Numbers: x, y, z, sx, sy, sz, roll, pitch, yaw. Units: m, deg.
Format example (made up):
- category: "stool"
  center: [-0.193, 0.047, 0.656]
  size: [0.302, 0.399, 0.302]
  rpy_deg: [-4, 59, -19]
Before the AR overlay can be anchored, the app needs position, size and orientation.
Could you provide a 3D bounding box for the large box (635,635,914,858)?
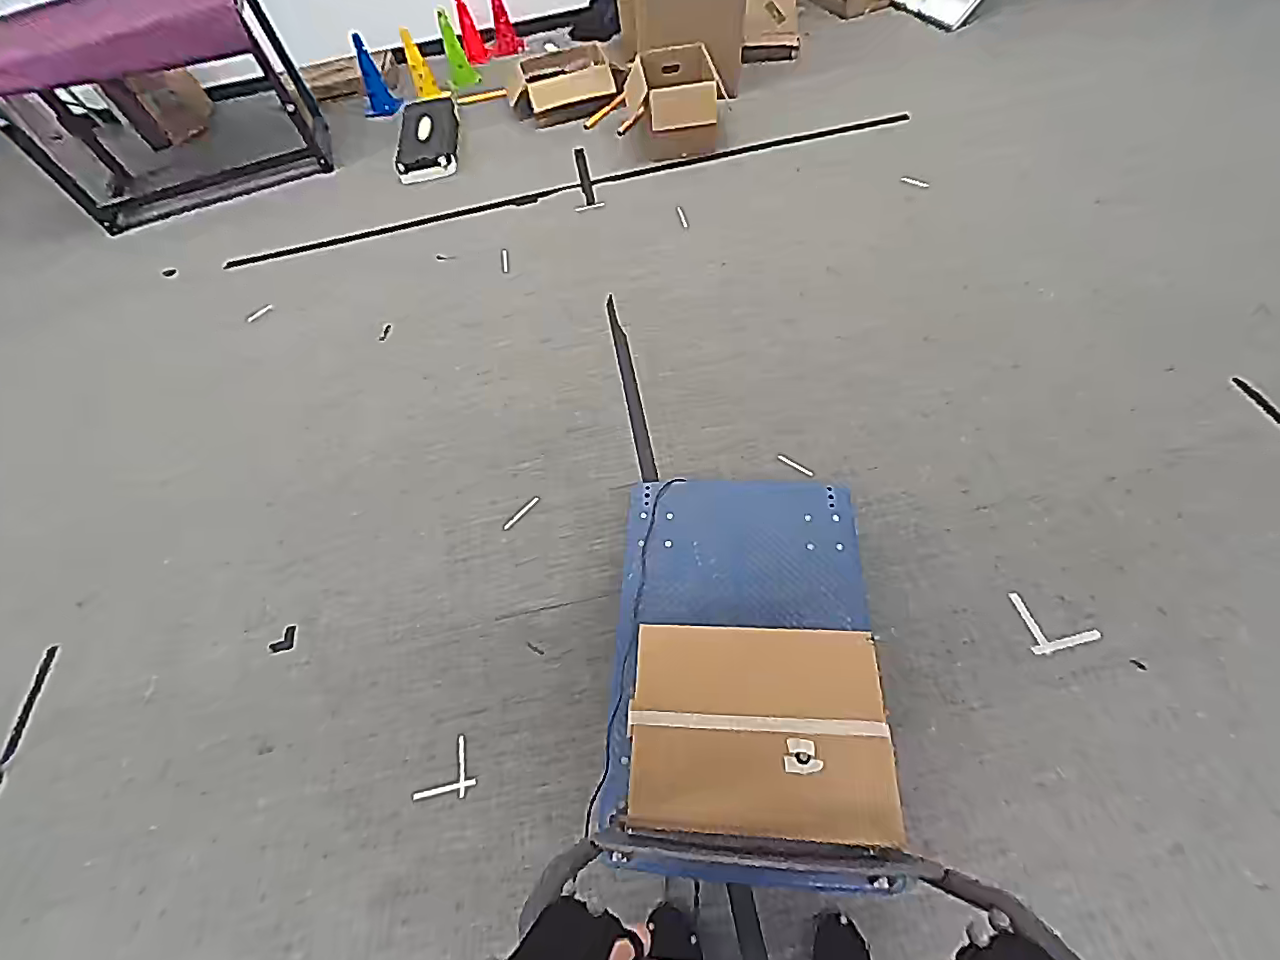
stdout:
- category: "large box"
  center: [0.206, 0.480, 0.976]
  size: [0.408, 0.320, 0.320]
  rpy_deg: [0, 59, 6]
